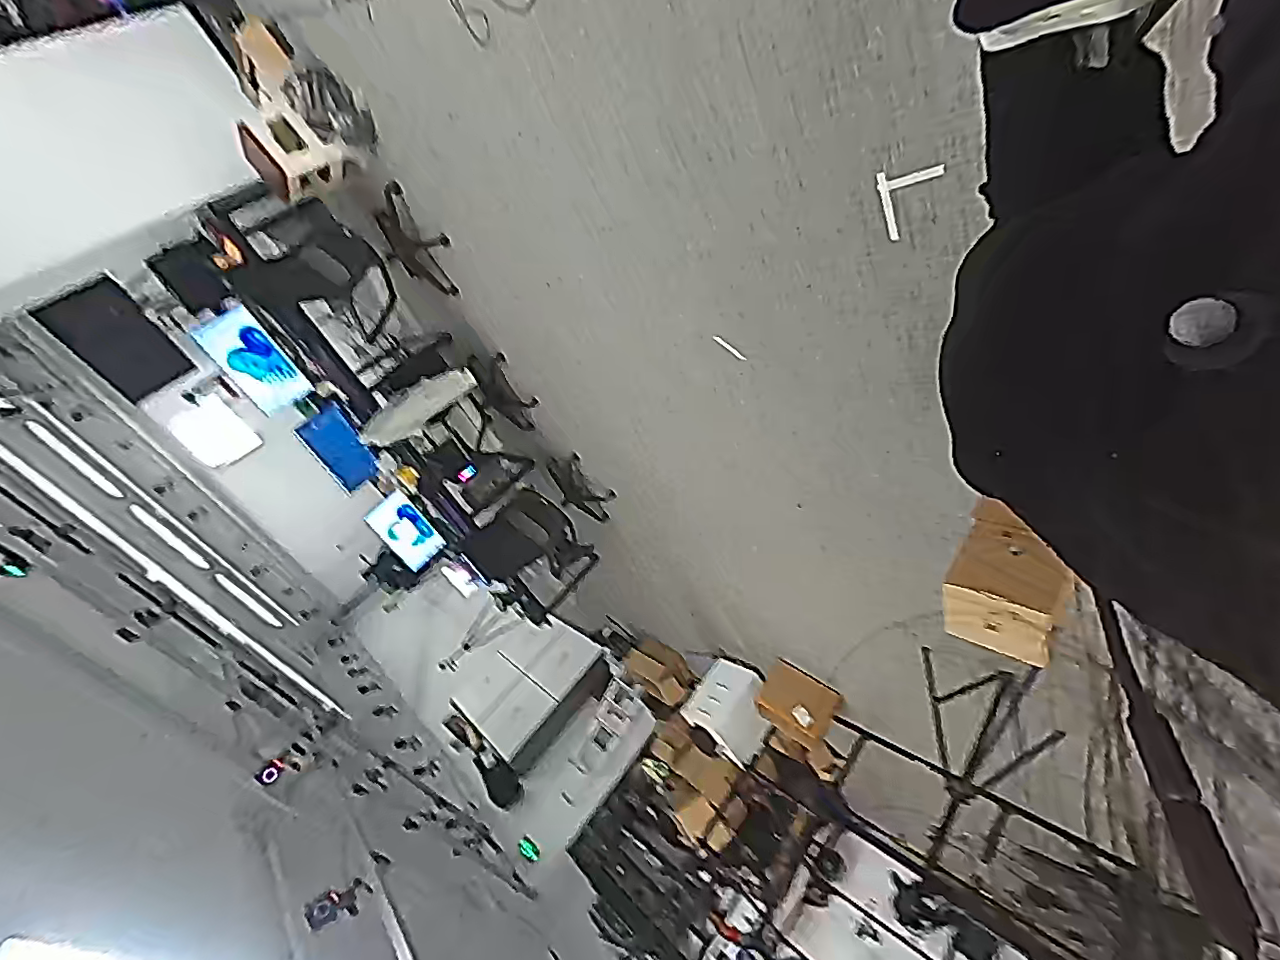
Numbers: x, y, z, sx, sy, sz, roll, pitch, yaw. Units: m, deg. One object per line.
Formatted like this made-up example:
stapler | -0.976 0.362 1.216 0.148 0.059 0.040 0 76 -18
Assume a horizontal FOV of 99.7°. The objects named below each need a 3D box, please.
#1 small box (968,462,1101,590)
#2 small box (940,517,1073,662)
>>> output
small box | 0.786 0.084 1.085 0.179 0.176 0.168 15 144 45
small box | 0.689 0.201 1.022 0.168 0.176 0.179 18 145 43
